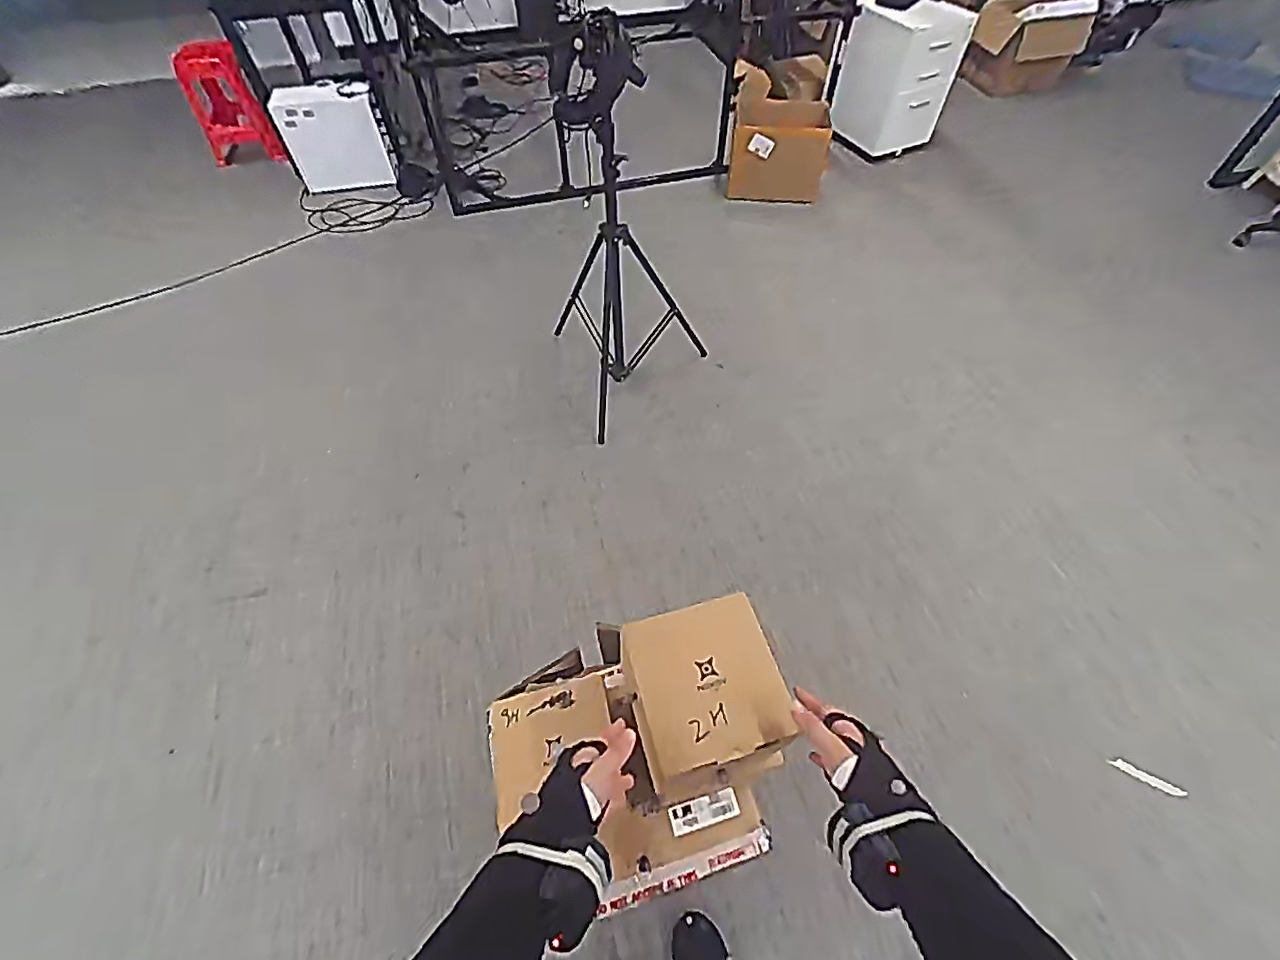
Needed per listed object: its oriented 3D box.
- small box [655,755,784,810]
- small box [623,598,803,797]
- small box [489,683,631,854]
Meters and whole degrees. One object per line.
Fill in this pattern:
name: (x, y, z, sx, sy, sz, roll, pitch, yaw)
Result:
small box: (0.092, 0.380, 0.821, 0.168, 0.176, 0.179, -11, 57, -9)
small box: (0.076, 0.279, 0.690, 0.168, 0.176, 0.179, -13, 57, -10)
small box: (-0.112, 0.420, 0.792, 0.168, 0.176, 0.179, -12, 58, -6)
